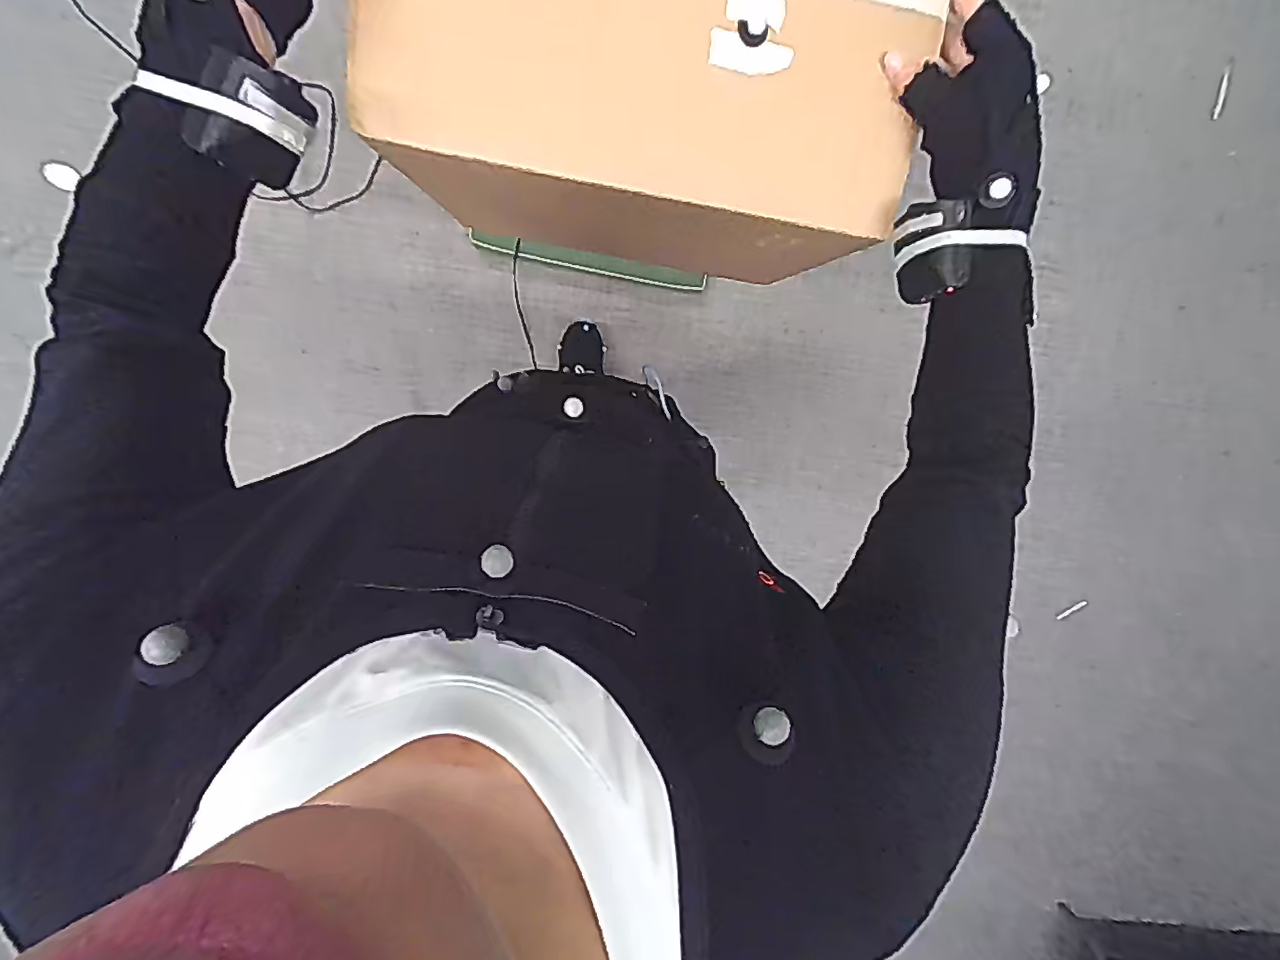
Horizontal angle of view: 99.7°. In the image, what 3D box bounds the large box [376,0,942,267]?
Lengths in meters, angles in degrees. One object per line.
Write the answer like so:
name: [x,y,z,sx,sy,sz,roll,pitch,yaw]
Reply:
large box: [0.014,-0.414,0.517,0.408,0.320,0.320,8,104,-7]
